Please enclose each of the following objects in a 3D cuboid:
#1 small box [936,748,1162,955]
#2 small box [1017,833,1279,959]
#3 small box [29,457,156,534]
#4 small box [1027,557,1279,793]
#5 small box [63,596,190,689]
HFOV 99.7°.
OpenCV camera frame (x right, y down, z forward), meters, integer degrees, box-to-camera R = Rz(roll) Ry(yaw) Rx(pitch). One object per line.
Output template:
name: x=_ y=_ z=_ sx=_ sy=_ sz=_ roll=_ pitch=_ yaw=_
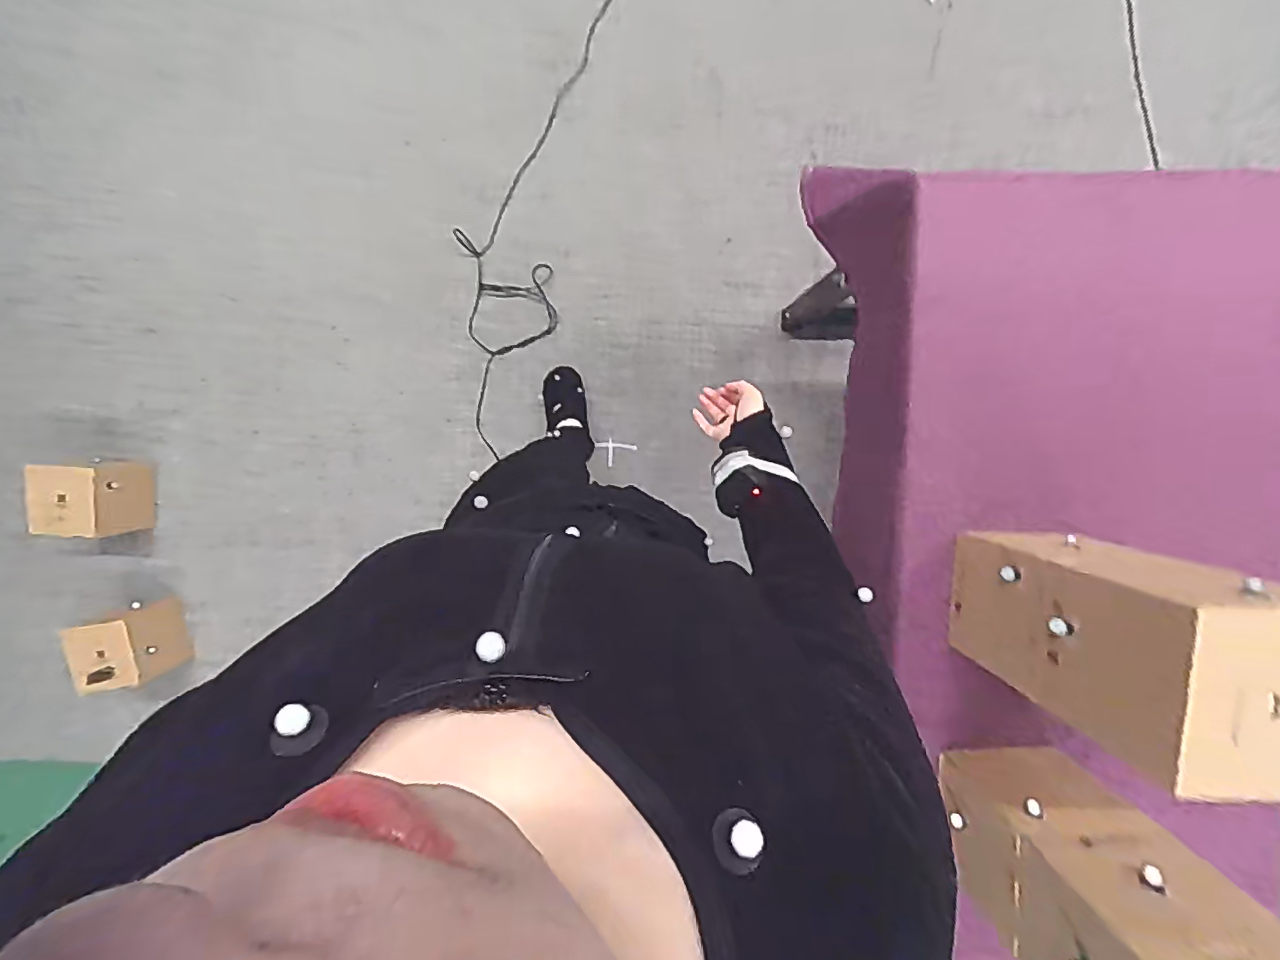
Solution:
small box: x=0.532 y=0.484 z=0.726 sx=0.179 sy=0.176 sz=0.168 roll=-2 pitch=96 yaw=0
small box: x=0.530 y=0.501 z=0.563 sx=0.168 sy=0.176 sz=0.179 roll=-2 pitch=95 yaw=1
small box: x=-1.402 y=0.033 z=1.395 sx=0.168 sy=0.176 sz=0.179 roll=4 pitch=95 yaw=0
small box: x=0.532 y=0.176 z=0.530 sx=0.179 sy=0.176 sz=0.168 roll=3 pitch=95 yaw=-1
small box: x=-1.347 y=0.426 z=1.434 sx=0.168 sy=0.176 sz=0.179 roll=-9 pitch=95 yaw=0
